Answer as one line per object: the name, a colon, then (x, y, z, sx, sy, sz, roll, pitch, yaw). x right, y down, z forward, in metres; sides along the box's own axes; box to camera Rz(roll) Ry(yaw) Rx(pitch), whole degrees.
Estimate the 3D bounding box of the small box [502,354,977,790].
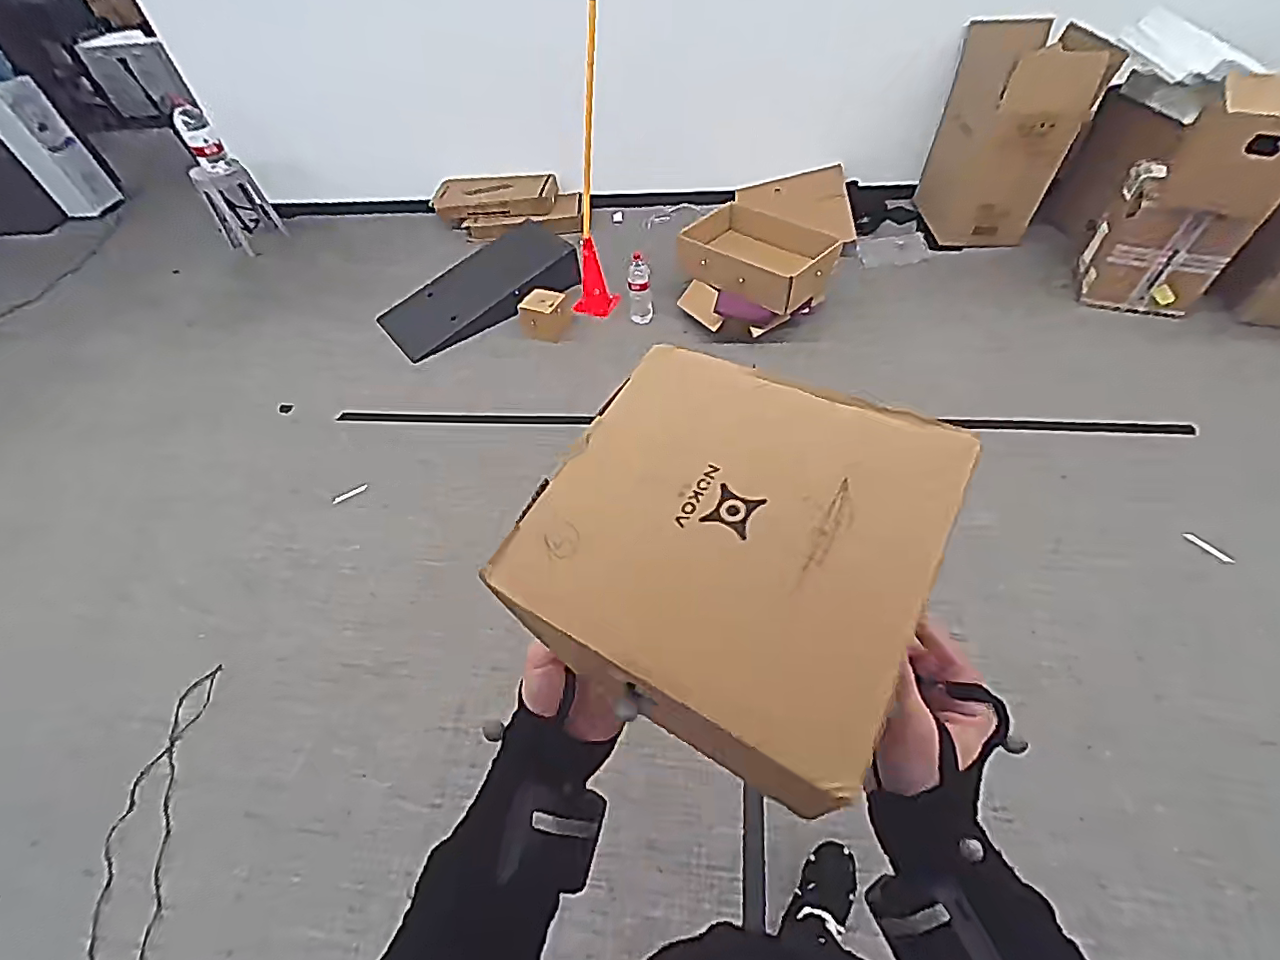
small box: (0.058, 0.059, 0.320, 0.179, 0.176, 0.168, 22, 64, 23)
